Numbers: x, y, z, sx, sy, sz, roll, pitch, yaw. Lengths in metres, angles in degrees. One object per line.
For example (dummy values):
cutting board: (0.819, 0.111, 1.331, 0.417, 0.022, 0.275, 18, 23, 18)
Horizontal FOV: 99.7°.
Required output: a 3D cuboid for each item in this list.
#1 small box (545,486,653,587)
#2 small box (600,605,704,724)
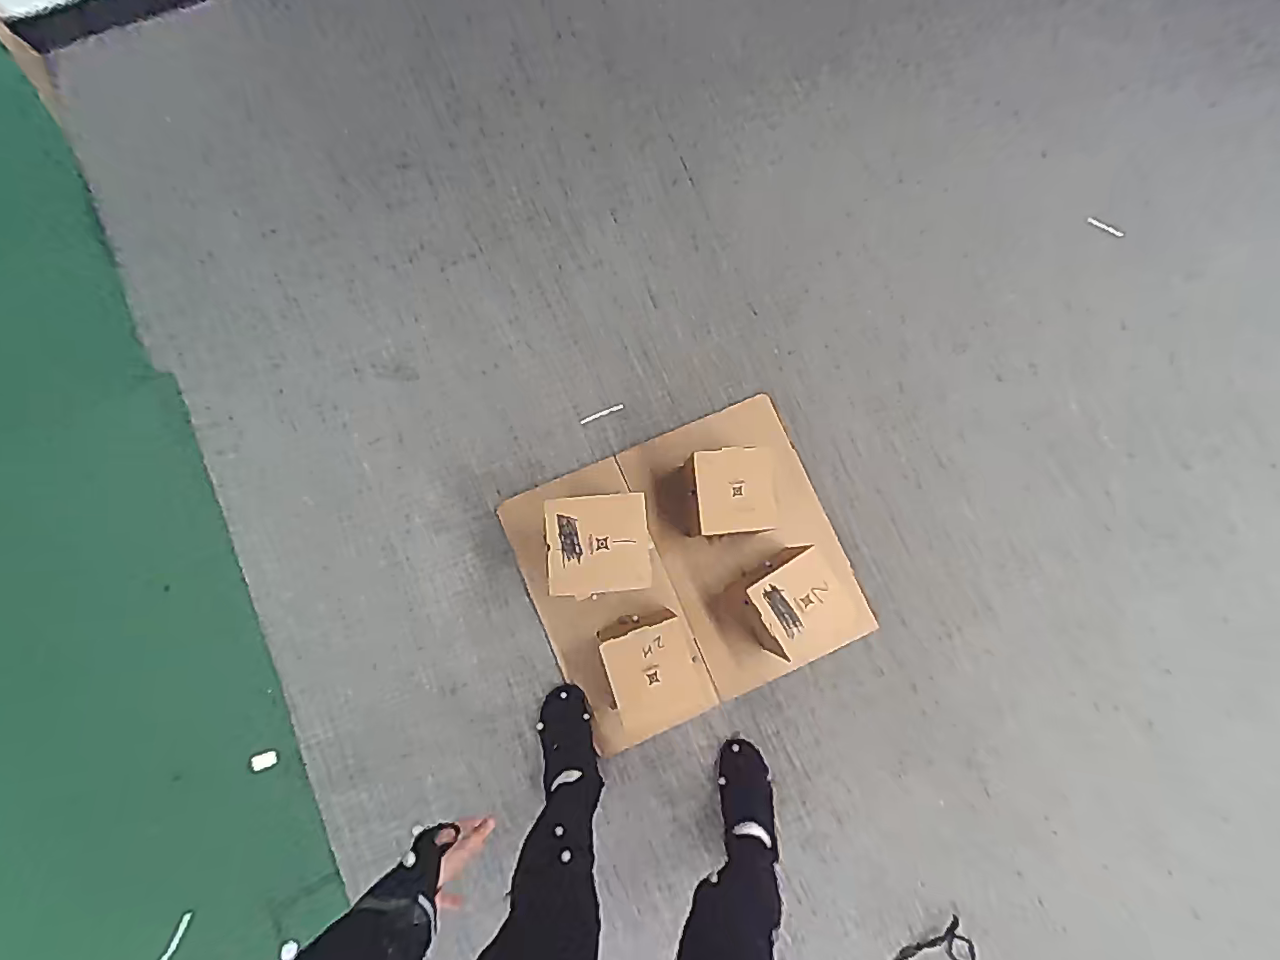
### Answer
small box: (-0.074, 0.107, 0.989, 0.179, 0.176, 0.168, -4, 81, -4)
small box: (0.020, 0.371, 1.119, 0.168, 0.176, 0.179, -17, 83, -6)
